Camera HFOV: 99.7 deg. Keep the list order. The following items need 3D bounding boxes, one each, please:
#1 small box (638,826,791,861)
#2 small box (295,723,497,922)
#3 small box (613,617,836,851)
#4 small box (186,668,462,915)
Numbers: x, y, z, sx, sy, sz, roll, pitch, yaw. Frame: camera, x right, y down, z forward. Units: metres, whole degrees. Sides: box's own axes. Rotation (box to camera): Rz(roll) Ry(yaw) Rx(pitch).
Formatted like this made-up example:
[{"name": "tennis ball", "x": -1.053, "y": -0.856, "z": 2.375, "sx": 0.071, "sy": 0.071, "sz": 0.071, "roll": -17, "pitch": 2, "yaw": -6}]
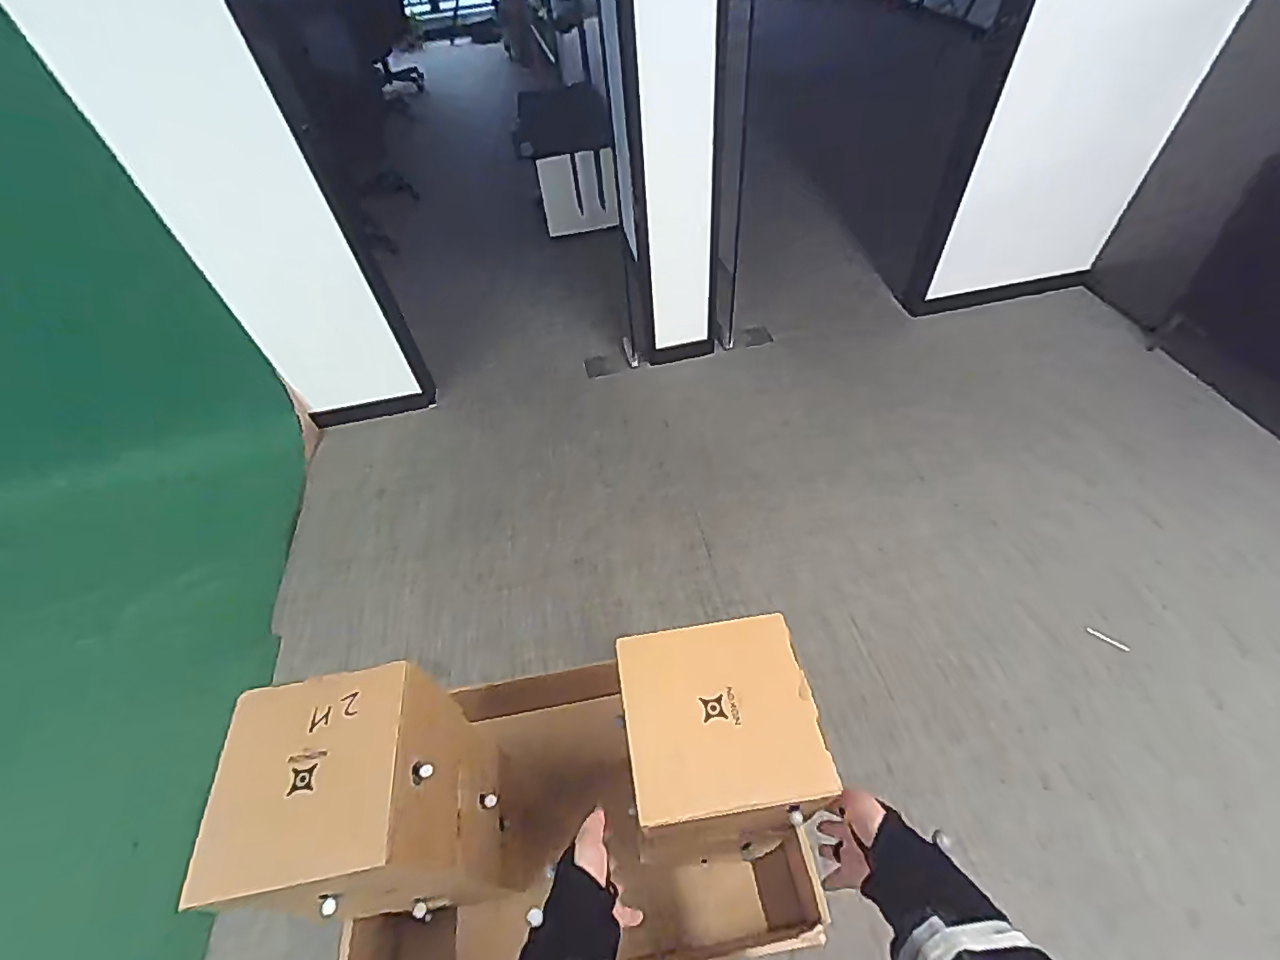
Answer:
[{"name": "small box", "x": 0.082, "y": 0.369, "z": 0.683, "sx": 0.168, "sy": 0.176, "sz": 0.179, "roll": -5, "pitch": 49, "yaw": 0}, {"name": "small box", "x": -0.281, "y": 0.427, "z": 0.673, "sx": 0.179, "sy": 0.176, "sz": 0.168, "roll": -11, "pitch": 49, "yaw": -4}, {"name": "small box", "x": 0.074, "y": 0.265, "z": 0.559, "sx": 0.179, "sy": 0.176, "sz": 0.168, "roll": -8, "pitch": 50, "yaw": -4}, {"name": "small box", "x": -0.291, "y": 0.318, "z": 0.549, "sx": 0.168, "sy": 0.176, "sz": 0.179, "roll": -10, "pitch": 50, "yaw": -3}]
